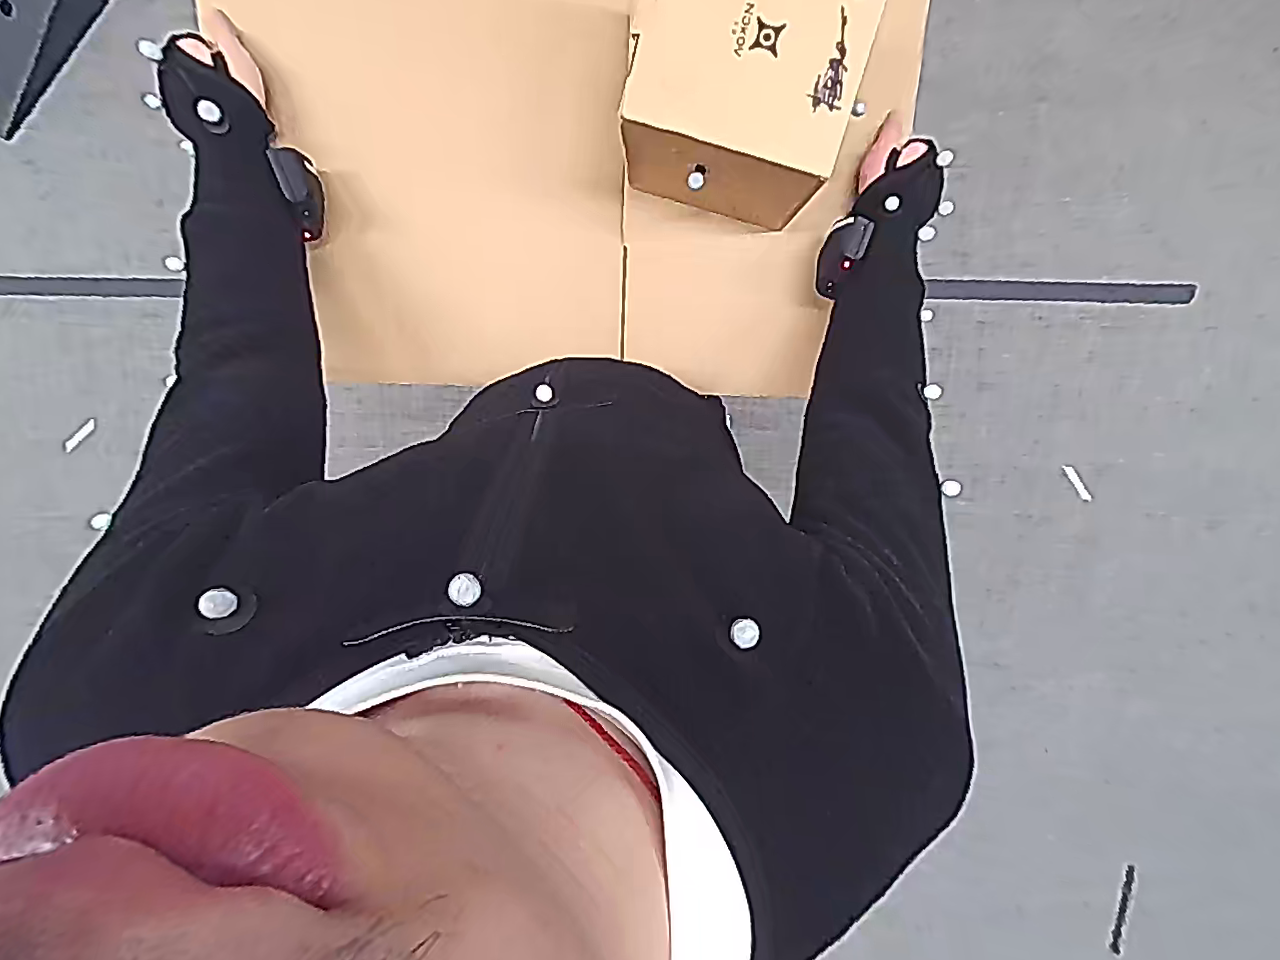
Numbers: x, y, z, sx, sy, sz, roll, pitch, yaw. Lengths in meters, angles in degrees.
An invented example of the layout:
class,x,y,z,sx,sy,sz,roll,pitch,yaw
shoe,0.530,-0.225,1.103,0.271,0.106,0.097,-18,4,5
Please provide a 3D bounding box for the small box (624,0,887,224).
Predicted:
class,x,y,z,sx,sy,sz,roll,pitch,yaw
small box,0.095,-0.356,0.494,0.179,0.176,0.168,16,102,-1
